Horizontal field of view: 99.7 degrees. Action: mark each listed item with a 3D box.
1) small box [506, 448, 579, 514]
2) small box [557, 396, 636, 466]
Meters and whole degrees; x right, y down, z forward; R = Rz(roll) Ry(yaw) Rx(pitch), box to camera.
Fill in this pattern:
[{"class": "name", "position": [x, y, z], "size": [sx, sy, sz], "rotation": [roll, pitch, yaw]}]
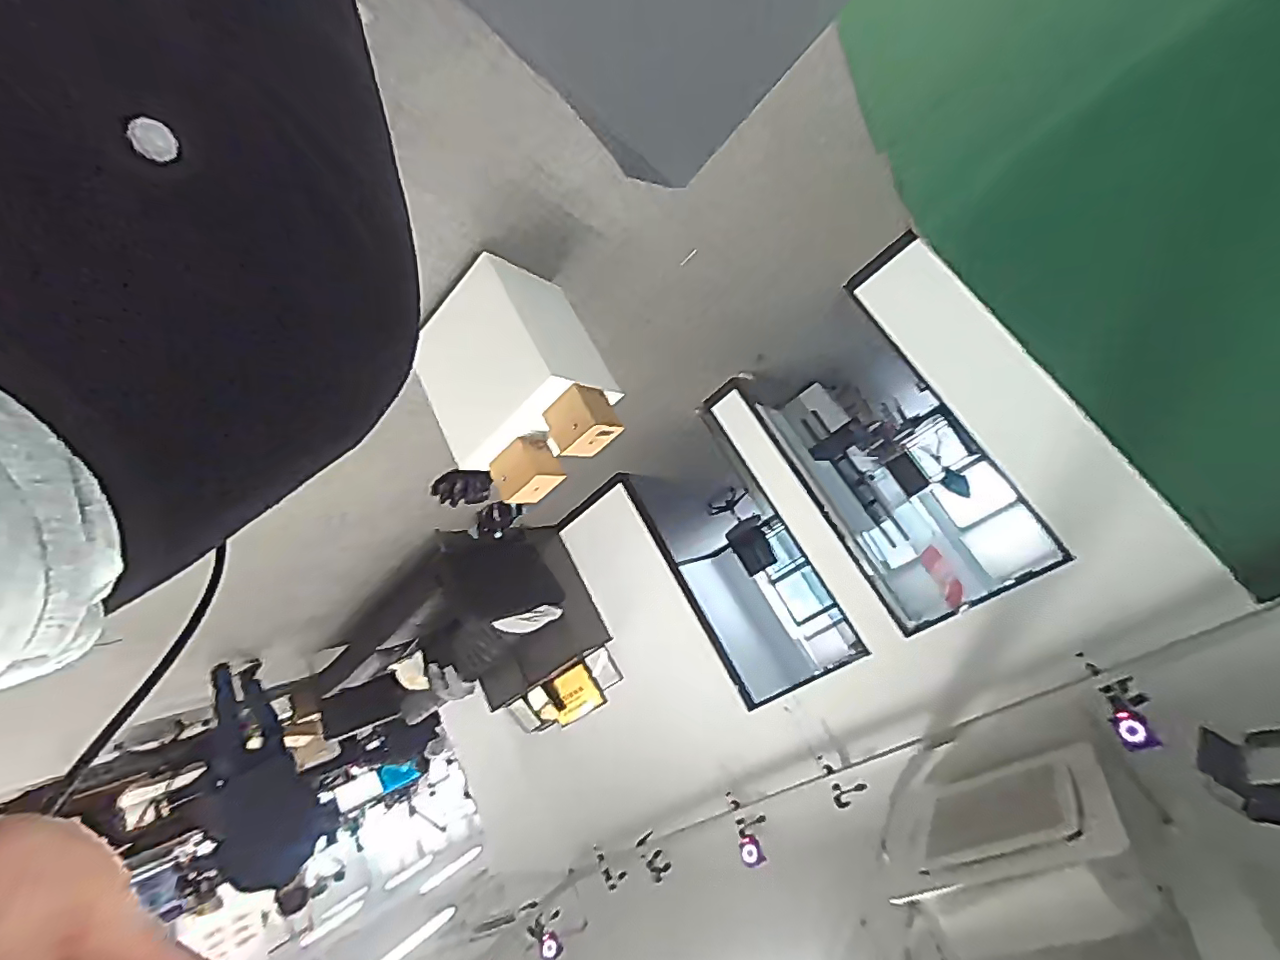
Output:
[{"class": "small box", "position": [-0.361, 0.007, 1.955], "size": [0.179, 0.176, 0.168], "rotation": [-41, 159, 24]}, {"class": "small box", "position": [-0.152, -0.164, 1.827], "size": [0.179, 0.176, 0.168], "rotation": [-39, 159, 28]}]
